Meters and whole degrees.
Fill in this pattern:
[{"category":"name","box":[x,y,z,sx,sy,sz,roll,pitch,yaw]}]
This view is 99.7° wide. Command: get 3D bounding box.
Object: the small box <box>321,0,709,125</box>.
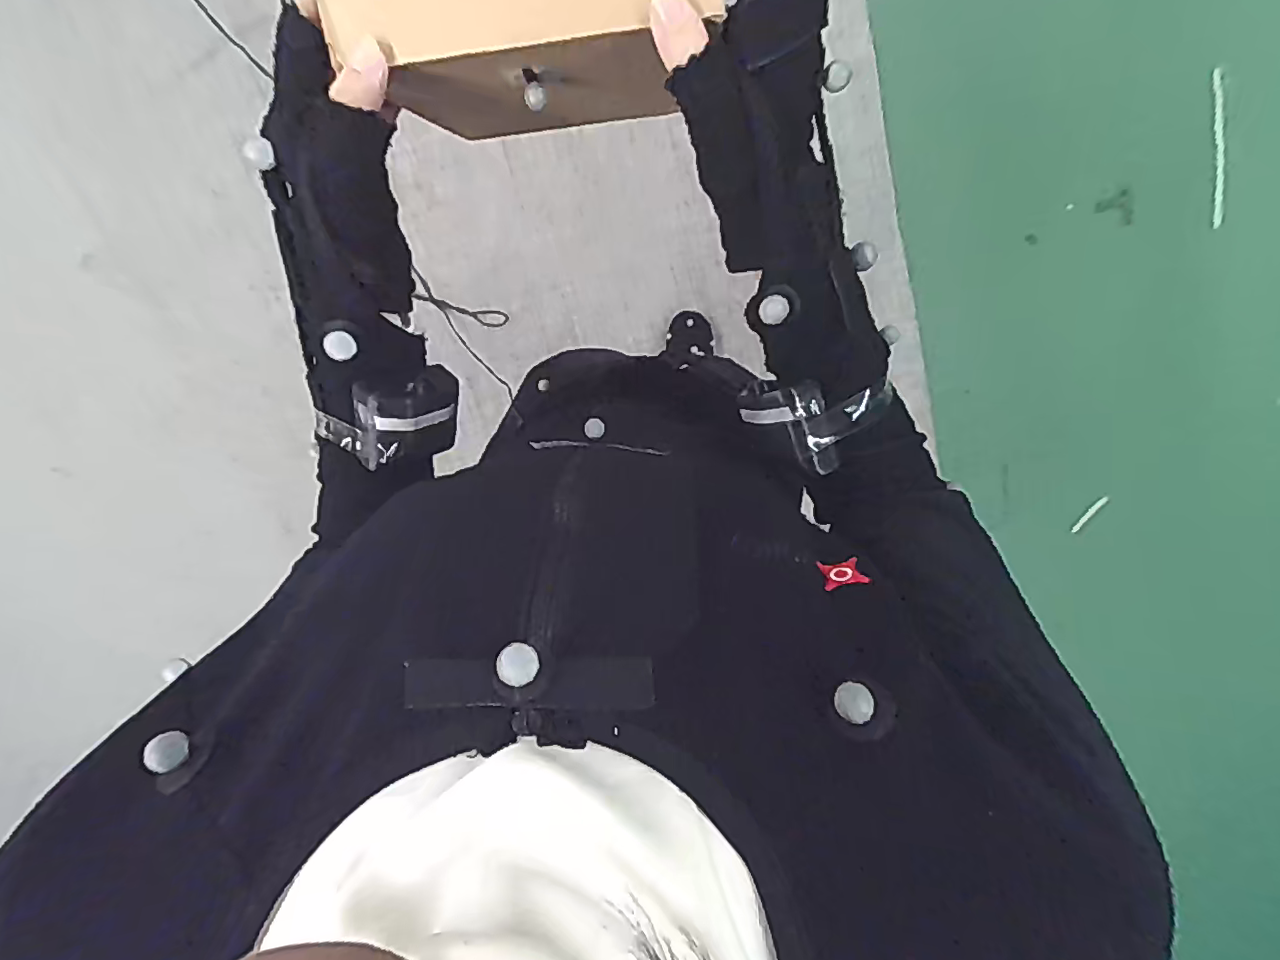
[{"category":"small box","box":[-0.054,-0.303,0.279,0.179,0.176,0.168,-4,113,6]}]
